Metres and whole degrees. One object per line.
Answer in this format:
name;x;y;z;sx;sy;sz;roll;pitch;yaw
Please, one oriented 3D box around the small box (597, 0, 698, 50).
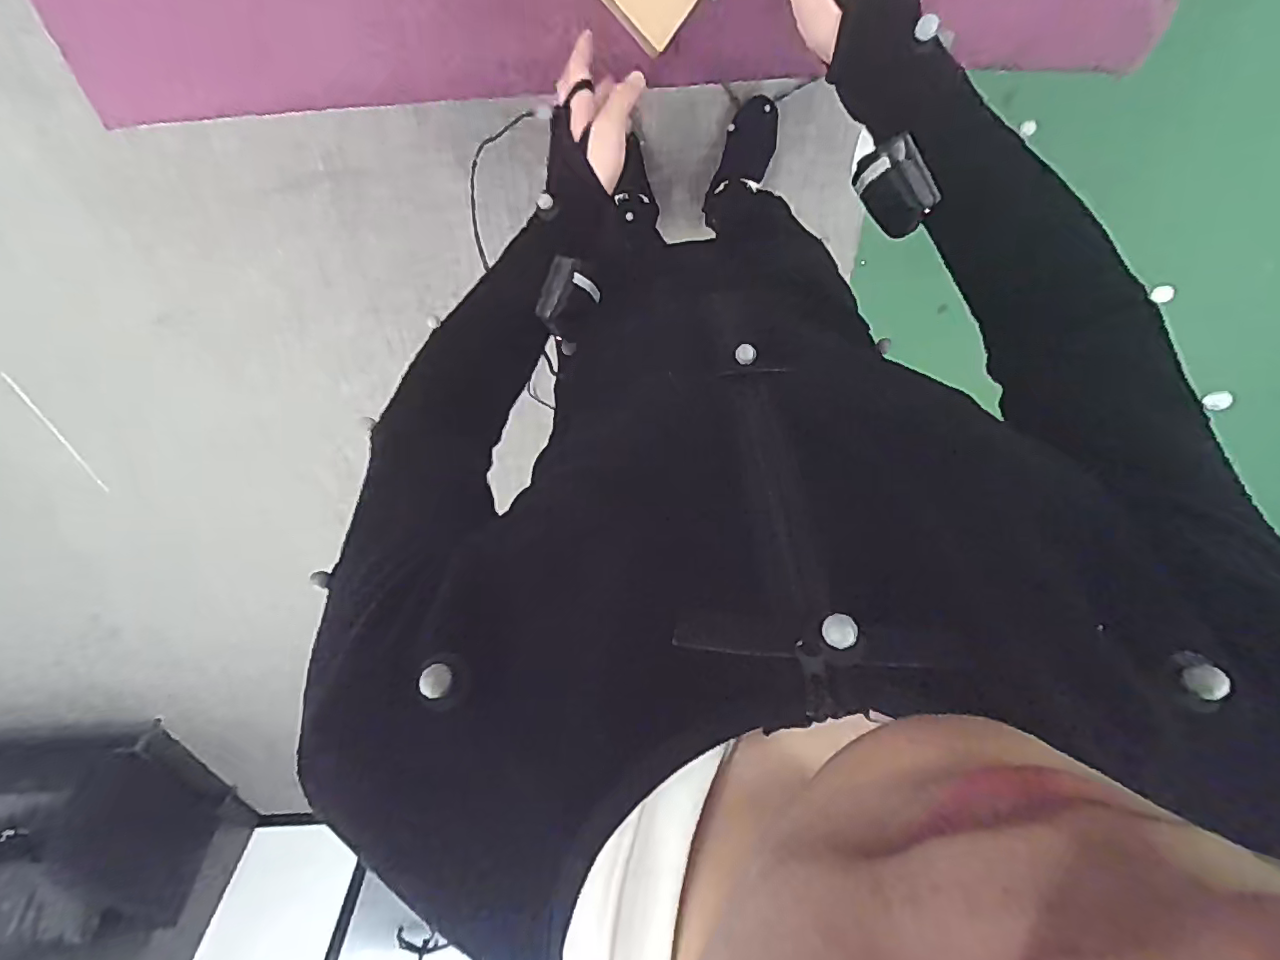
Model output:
small box;0.003;-0.524;0.480;0.179;0.176;0.168;36;119;-24
